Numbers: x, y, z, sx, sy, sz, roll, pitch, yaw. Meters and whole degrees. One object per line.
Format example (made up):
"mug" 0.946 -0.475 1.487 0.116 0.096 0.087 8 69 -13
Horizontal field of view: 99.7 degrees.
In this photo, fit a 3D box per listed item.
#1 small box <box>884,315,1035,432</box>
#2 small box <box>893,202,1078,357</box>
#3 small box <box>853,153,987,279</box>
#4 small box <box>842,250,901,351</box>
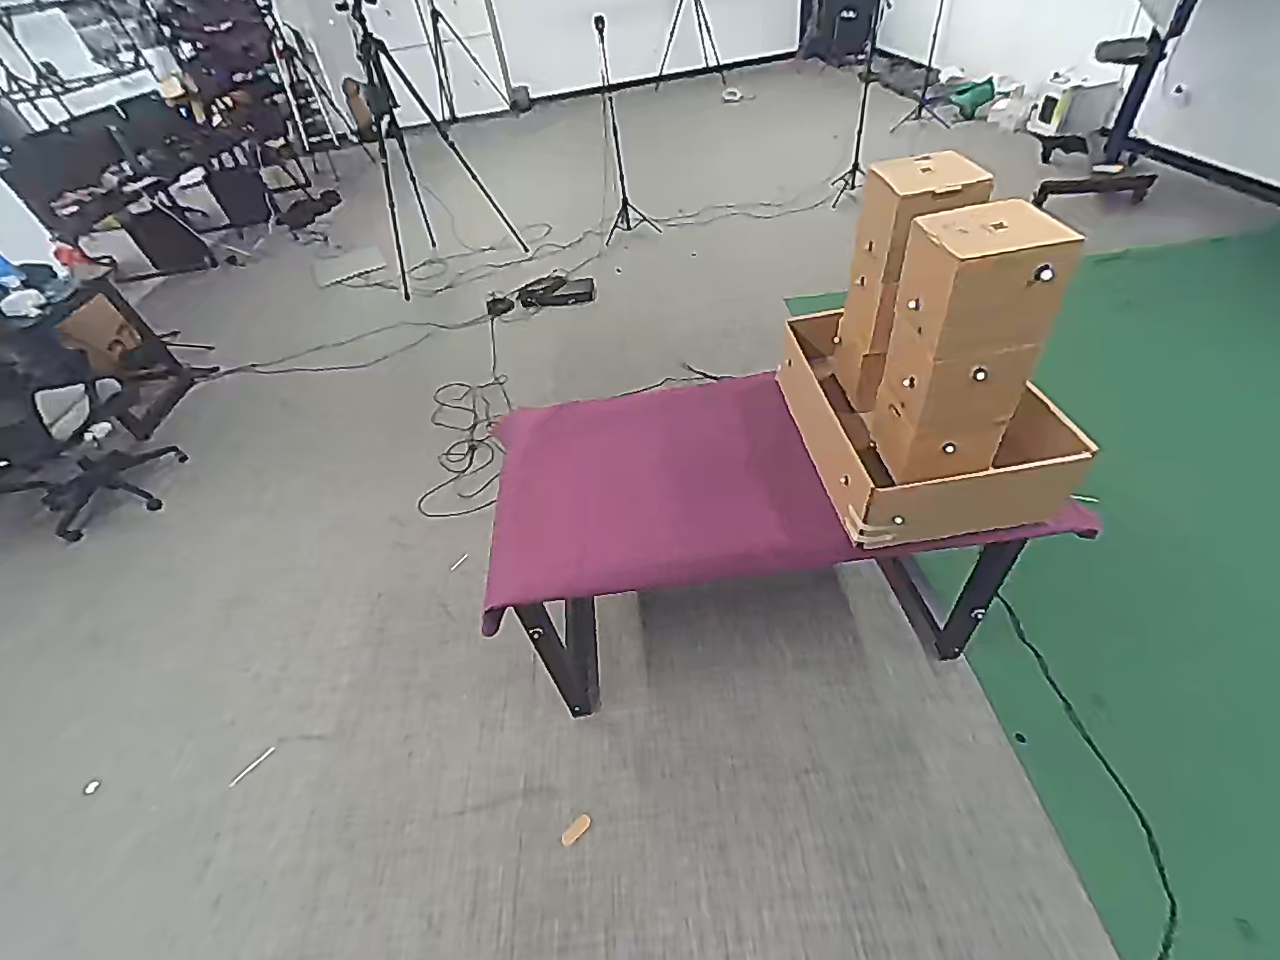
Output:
"small box" 0.563 -0.204 0.989 0.179 0.176 0.168 -8 45 4
"small box" 0.538 -0.321 0.874 0.179 0.176 0.168 -9 45 4
"small box" 0.534 -0.509 1.059 0.168 0.176 0.179 -8 47 3
"small box" 0.555 -0.396 1.177 0.168 0.176 0.179 -8 46 4
